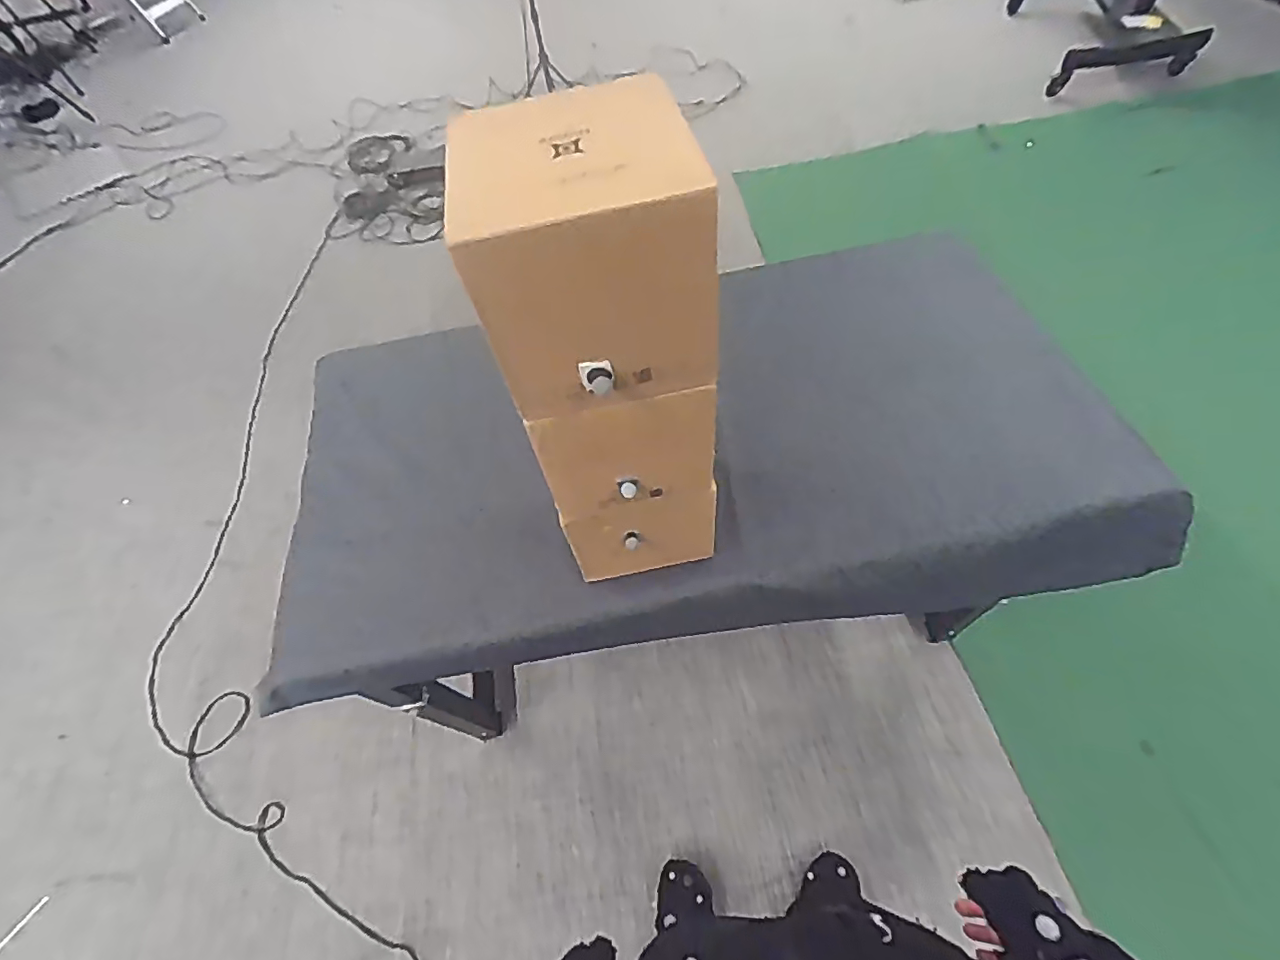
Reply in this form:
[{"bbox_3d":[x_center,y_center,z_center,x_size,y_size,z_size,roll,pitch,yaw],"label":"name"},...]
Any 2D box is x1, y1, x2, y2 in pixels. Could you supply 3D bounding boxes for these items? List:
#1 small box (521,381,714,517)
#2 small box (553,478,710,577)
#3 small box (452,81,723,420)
[{"bbox_3d":[-0.025,-0.085,0.565,0.168,0.176,0.179,-10,56,-1],"label":"small box"},{"bbox_3d":[-0.011,0.010,0.699,0.179,0.176,0.168,-11,56,-1],"label":"small box"},{"bbox_3d":[-0.038,-0.176,0.431,0.168,0.176,0.179,-12,57,-1],"label":"small box"}]
